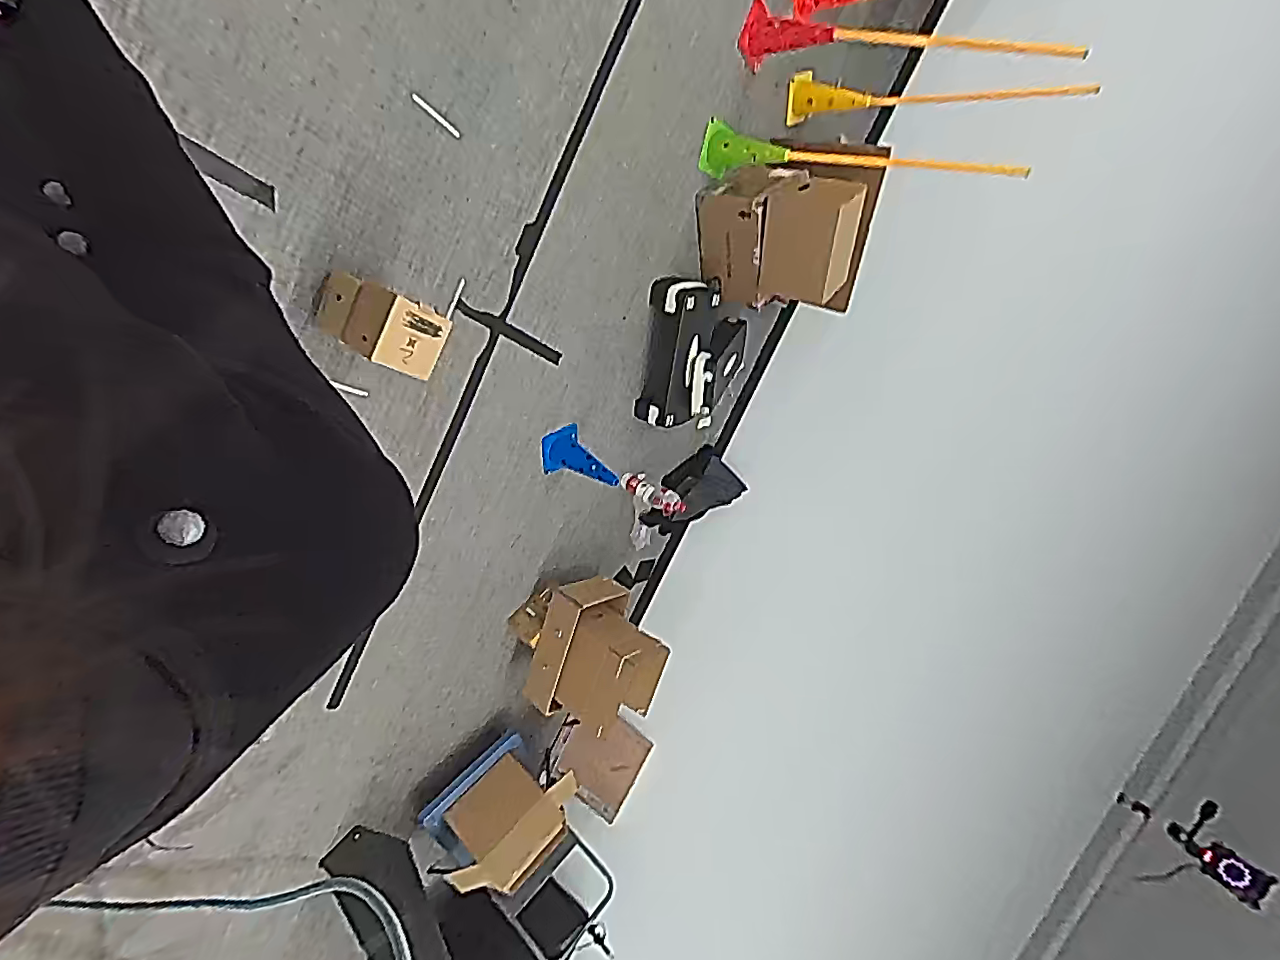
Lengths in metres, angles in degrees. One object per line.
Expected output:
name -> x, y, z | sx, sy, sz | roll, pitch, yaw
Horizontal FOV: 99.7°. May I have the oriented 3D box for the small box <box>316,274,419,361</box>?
small box -> -0.750, -0.447, 1.483 | 0.179, 0.176, 0.168 | 10, 106, -56
